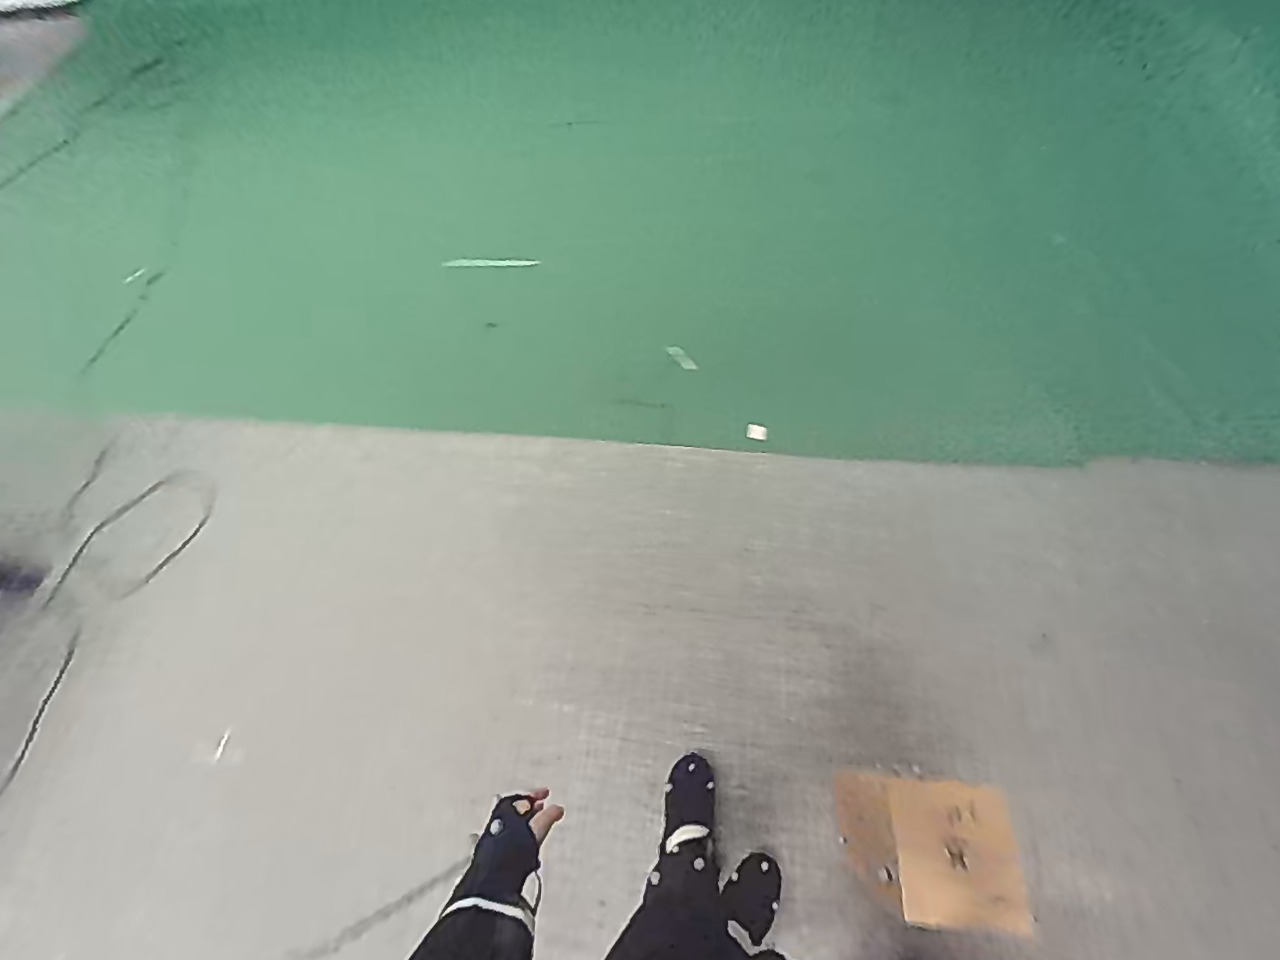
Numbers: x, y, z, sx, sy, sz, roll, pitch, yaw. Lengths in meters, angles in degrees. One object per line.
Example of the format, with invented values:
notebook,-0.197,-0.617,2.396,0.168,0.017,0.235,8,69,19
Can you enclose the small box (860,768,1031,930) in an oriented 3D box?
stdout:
small box,0.449,0.548,0.827,0.168,0.176,0.179,2,62,7
